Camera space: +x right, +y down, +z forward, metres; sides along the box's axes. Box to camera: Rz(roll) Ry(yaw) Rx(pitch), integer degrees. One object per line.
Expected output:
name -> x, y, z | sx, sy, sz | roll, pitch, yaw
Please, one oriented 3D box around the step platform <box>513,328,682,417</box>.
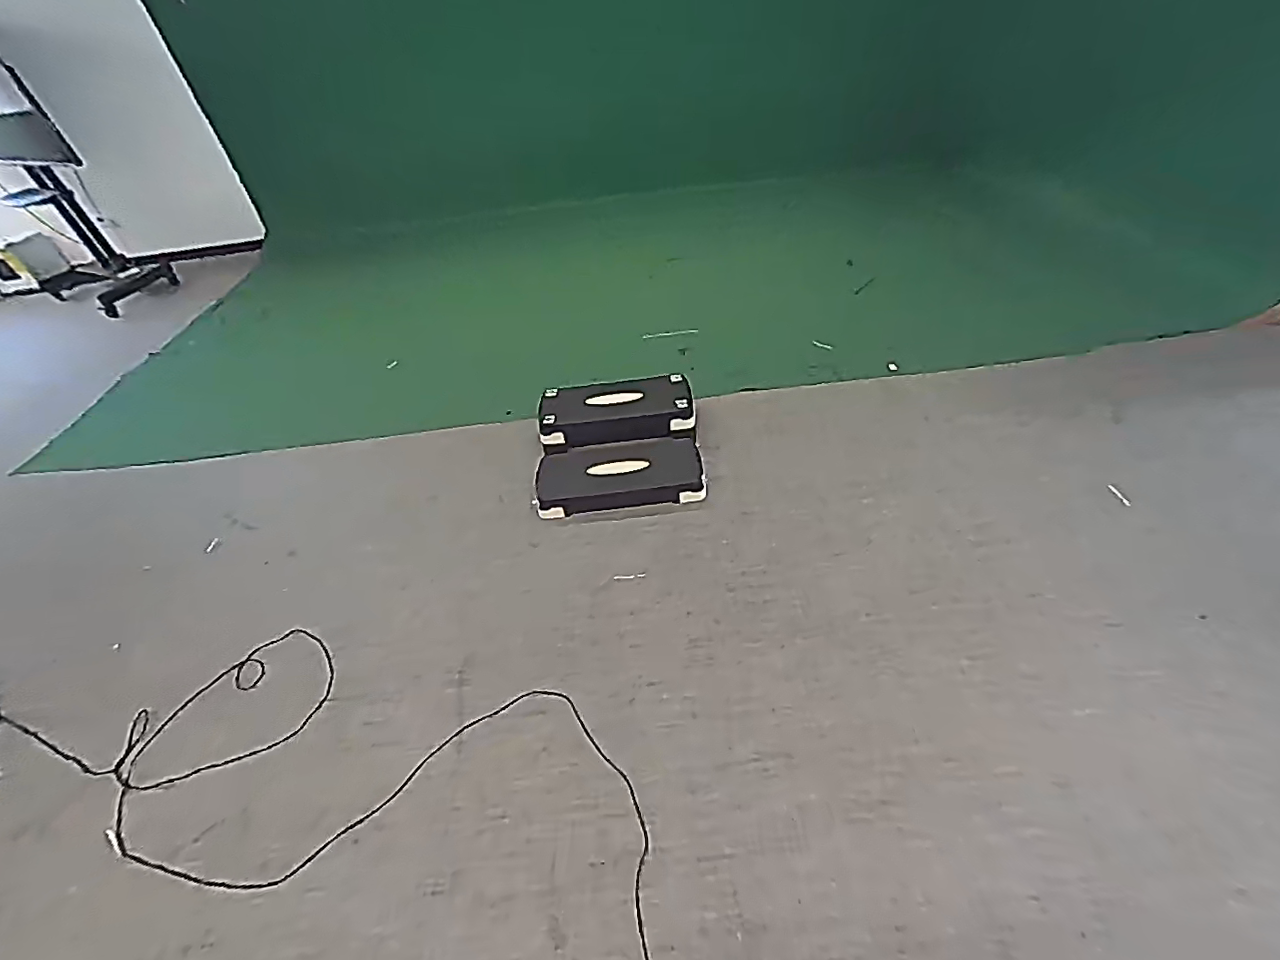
step platform -> -0.169, -0.452, 2.263 | 0.684, 0.204, 0.286 | -7, 44, 2
